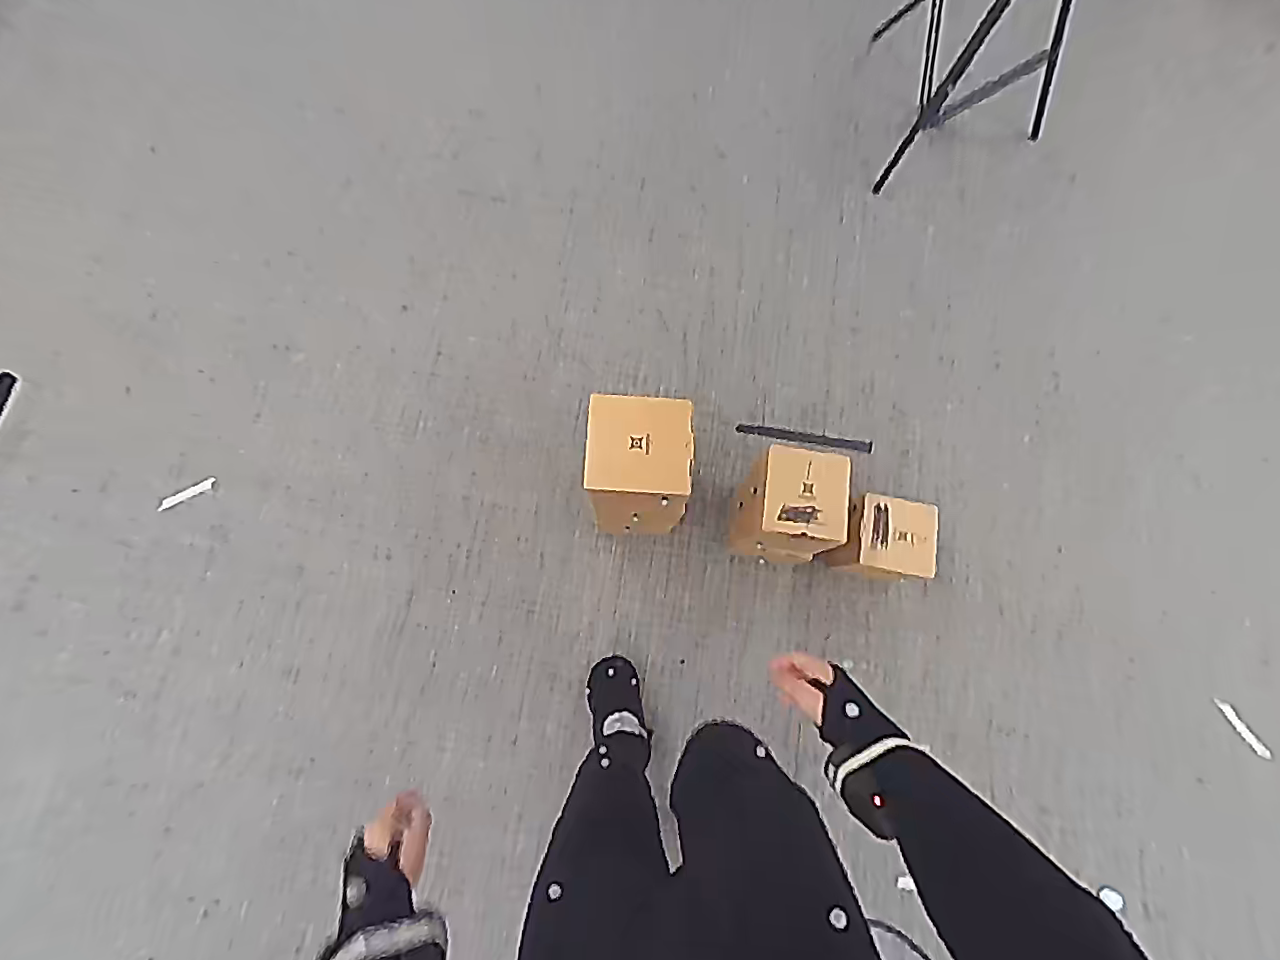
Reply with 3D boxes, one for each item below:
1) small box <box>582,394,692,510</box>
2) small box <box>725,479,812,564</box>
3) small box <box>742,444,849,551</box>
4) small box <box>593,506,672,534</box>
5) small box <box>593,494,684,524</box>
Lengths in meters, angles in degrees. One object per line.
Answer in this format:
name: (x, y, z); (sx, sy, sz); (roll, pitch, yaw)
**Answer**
small box: (-0.006, -0.042, 0.959); (0.179, 0.176, 0.168); (3, 77, -2)
small box: (0.307, 0.093, 1.278); (0.168, 0.176, 0.179); (13, 76, 0)
small box: (0.314, 0.044, 1.121); (0.168, 0.176, 0.179); (9, 75, -1)
small box: (-0.016, 0.035, 1.275); (0.179, 0.176, 0.168); (1, 77, -2)
small box: (-0.005, -0.004, 1.117); (0.179, 0.176, 0.168); (3, 78, -3)
